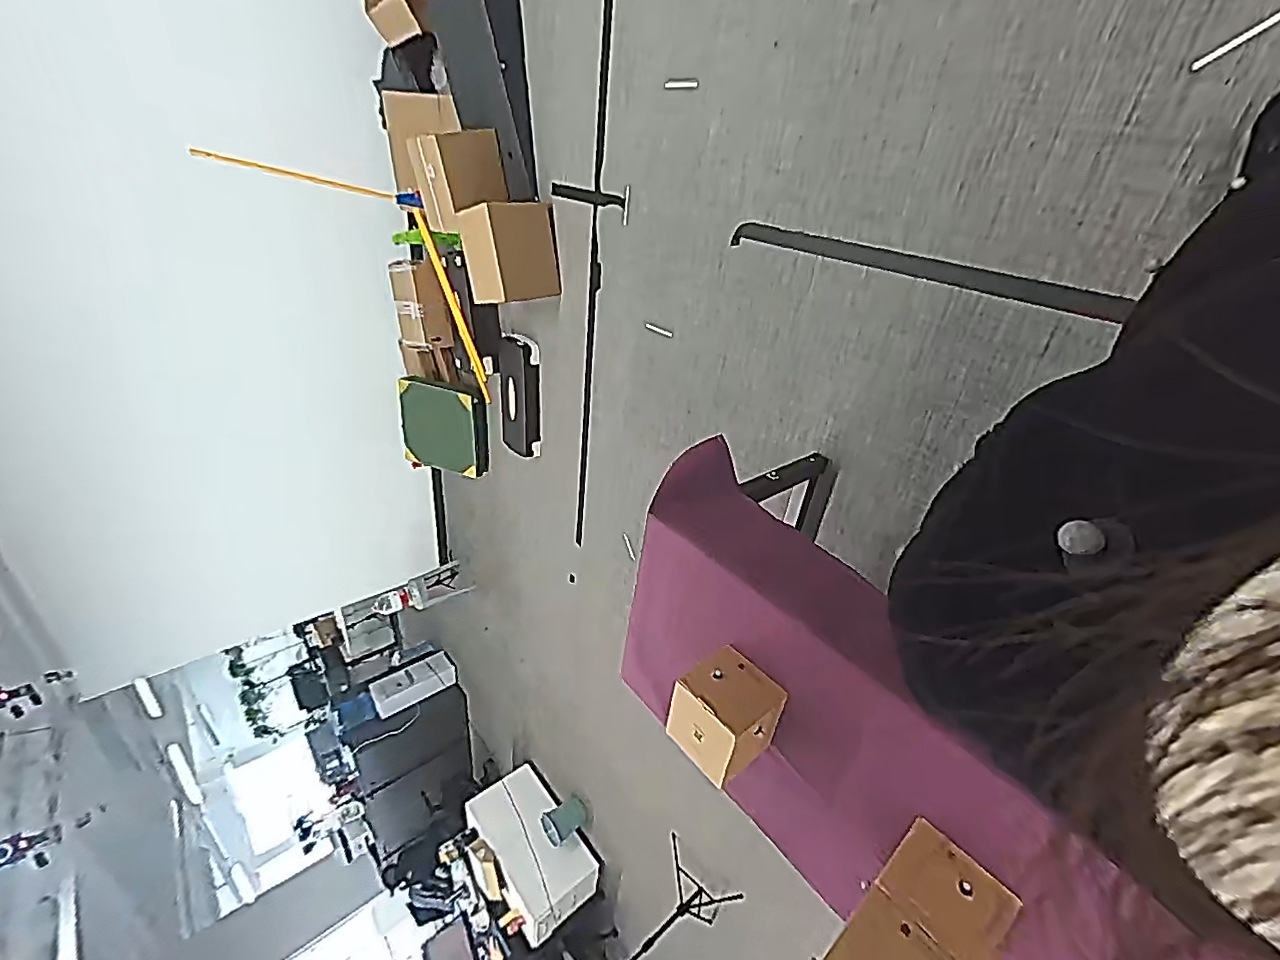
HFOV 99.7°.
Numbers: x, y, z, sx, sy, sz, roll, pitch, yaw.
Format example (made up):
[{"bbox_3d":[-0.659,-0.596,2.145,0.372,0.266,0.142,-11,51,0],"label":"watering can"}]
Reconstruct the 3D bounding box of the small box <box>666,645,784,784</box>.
[{"bbox_3d":[0.181,0.486,1.145,0.168,0.176,0.179,35,130,38],"label":"small box"}]

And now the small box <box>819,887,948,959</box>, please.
[{"bbox_3d":[0.347,0.751,0.783,0.168,0.176,0.179,33,129,40],"label":"small box"}]

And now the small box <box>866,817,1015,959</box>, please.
[{"bbox_3d":[0.471,0.708,0.883,0.168,0.176,0.179,34,129,39],"label":"small box"}]
